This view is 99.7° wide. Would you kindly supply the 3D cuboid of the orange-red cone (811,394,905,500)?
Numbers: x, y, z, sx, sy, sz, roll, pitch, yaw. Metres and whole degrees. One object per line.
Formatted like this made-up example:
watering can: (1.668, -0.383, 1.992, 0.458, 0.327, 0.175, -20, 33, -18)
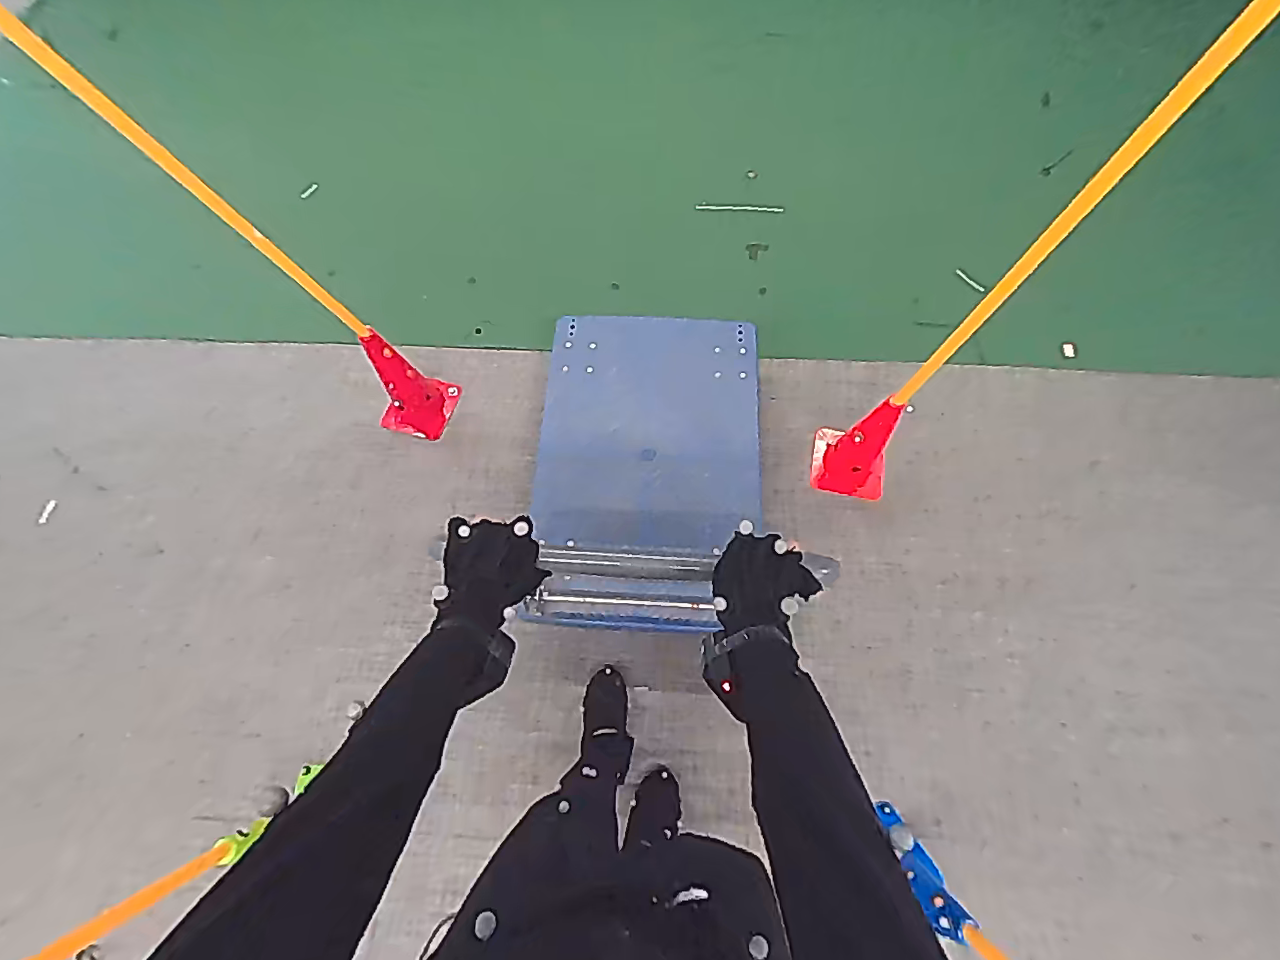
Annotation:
orange-red cone: (0.597, -0.112, 1.402, 0.198, 0.360, 0.199, 13, 69, 7)
